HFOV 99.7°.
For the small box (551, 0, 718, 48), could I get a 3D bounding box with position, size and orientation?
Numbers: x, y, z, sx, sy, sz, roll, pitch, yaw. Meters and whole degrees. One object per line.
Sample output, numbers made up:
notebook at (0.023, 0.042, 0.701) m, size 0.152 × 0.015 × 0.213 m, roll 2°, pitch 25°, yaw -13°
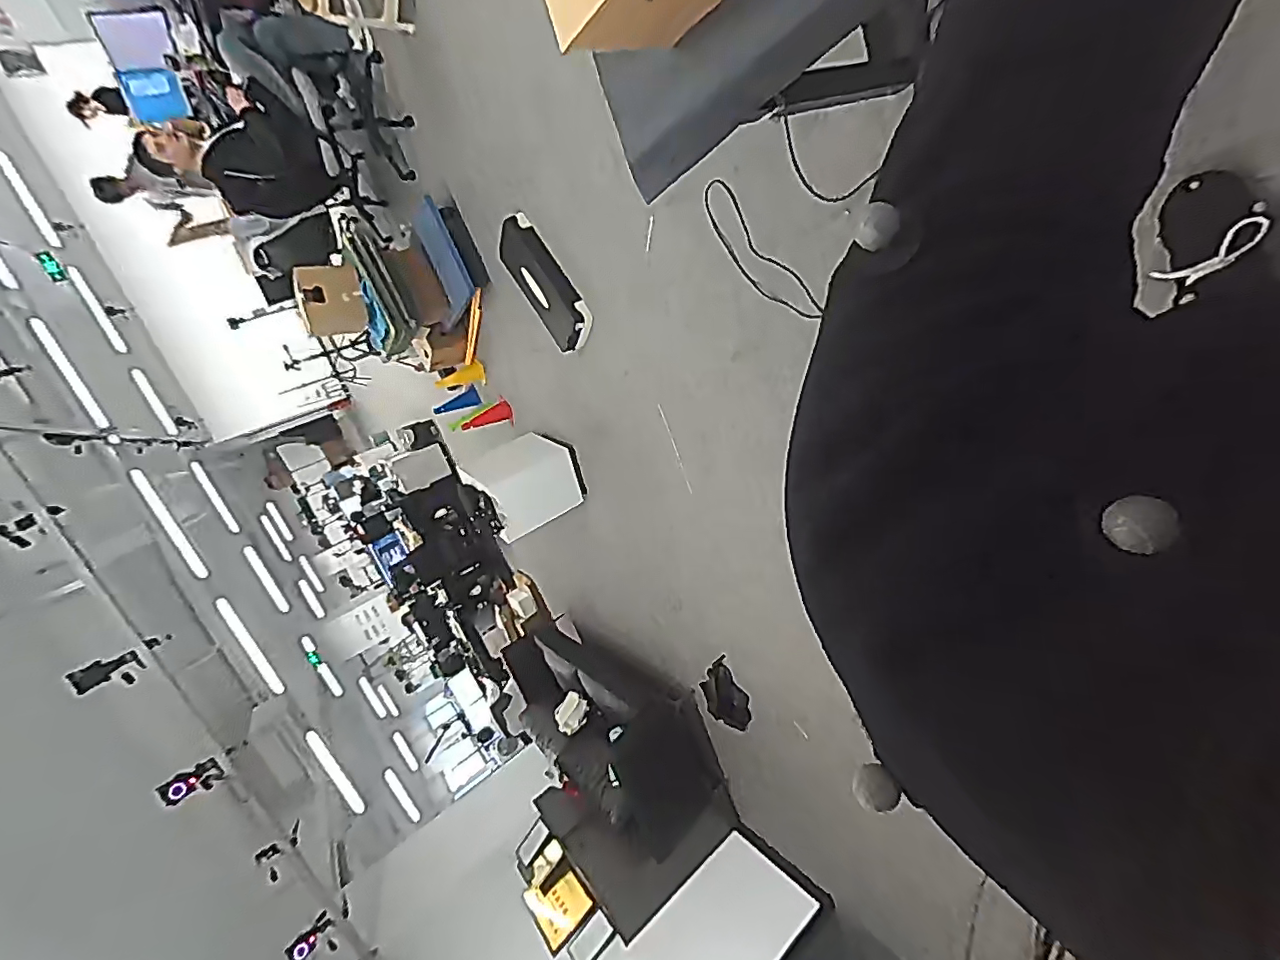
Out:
small box at (0.001, -0.597, 0.572) m, size 0.179 × 0.176 × 0.168 m, roll 10°, pitch 123°, yaw 55°
